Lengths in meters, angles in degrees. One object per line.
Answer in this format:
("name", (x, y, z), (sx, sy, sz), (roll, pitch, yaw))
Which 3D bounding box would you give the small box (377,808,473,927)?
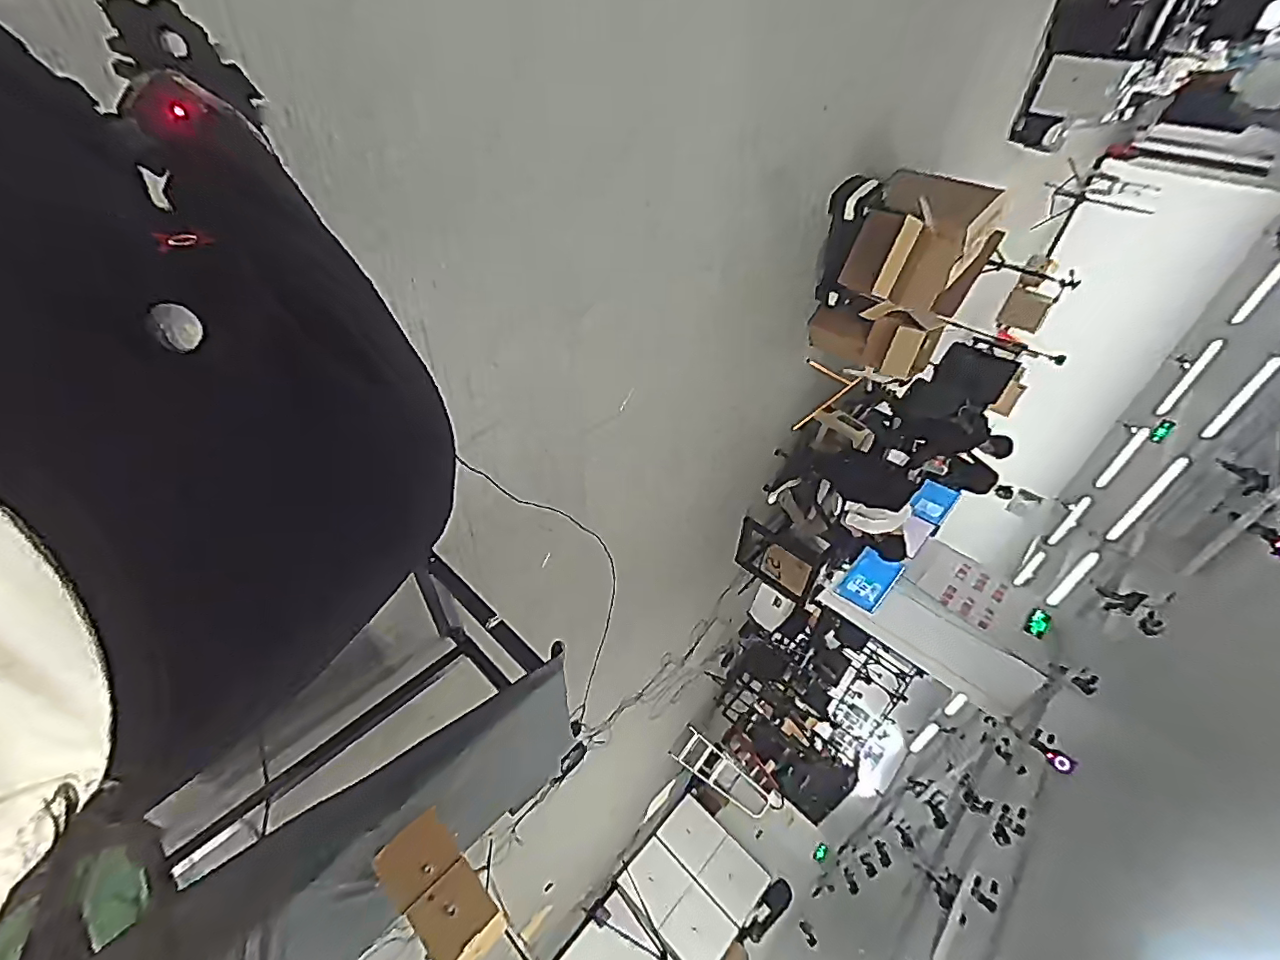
("small box", (-0.562, 1.023, 1.438), (0.179, 0.176, 0.168), (-33, 142, -35))

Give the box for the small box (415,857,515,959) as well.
("small box", (-0.440, 1.097, 1.358), (0.168, 0.176, 0.179), (-33, 142, -35))
